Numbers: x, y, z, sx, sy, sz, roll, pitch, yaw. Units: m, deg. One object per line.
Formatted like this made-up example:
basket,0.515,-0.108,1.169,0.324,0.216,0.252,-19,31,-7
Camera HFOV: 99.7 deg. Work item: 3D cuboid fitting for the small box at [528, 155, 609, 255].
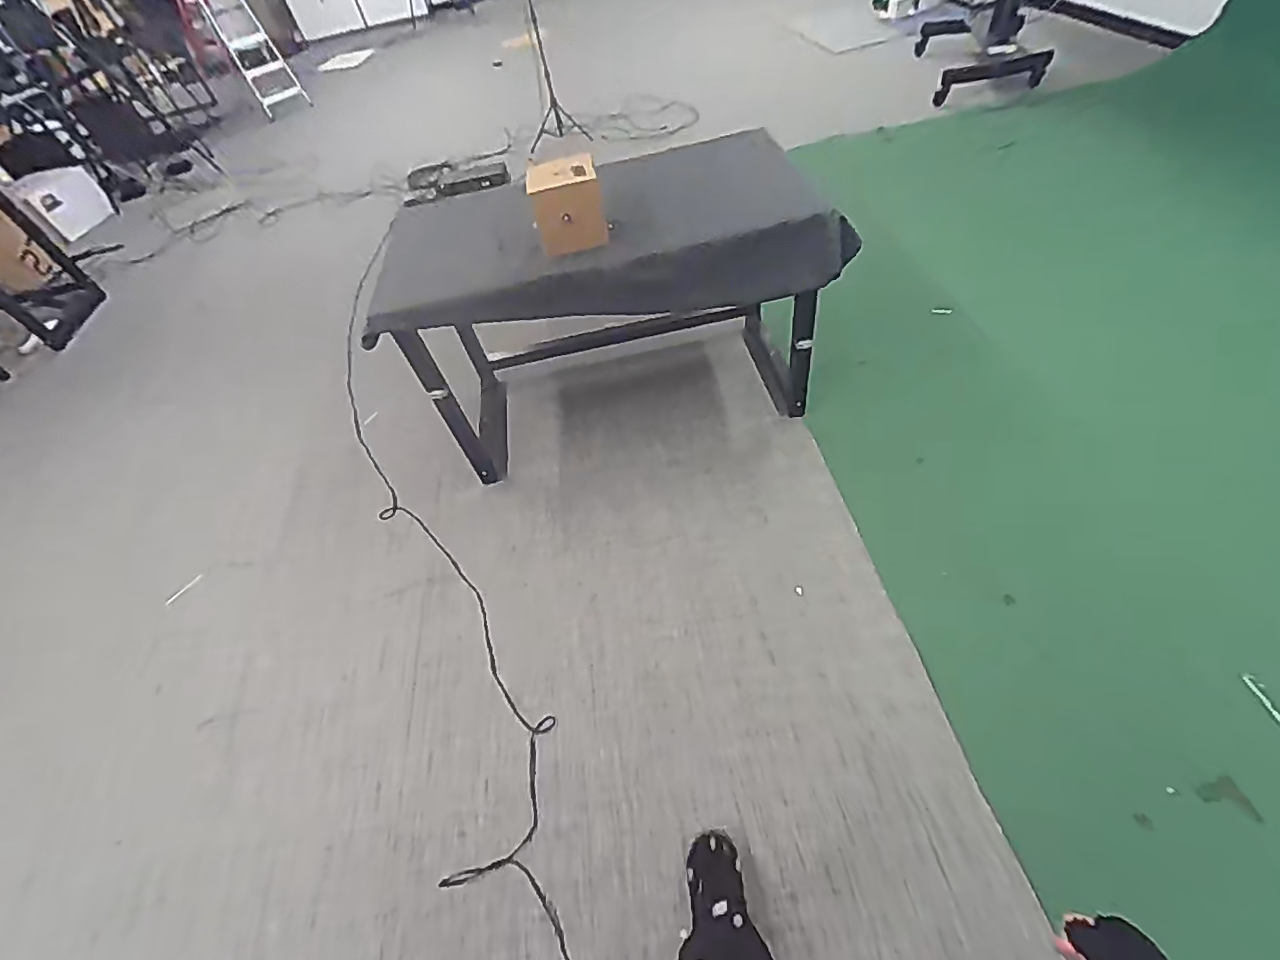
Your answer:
small box,-0.179,-0.711,1.405,0.179,0.176,0.168,-10,48,4
